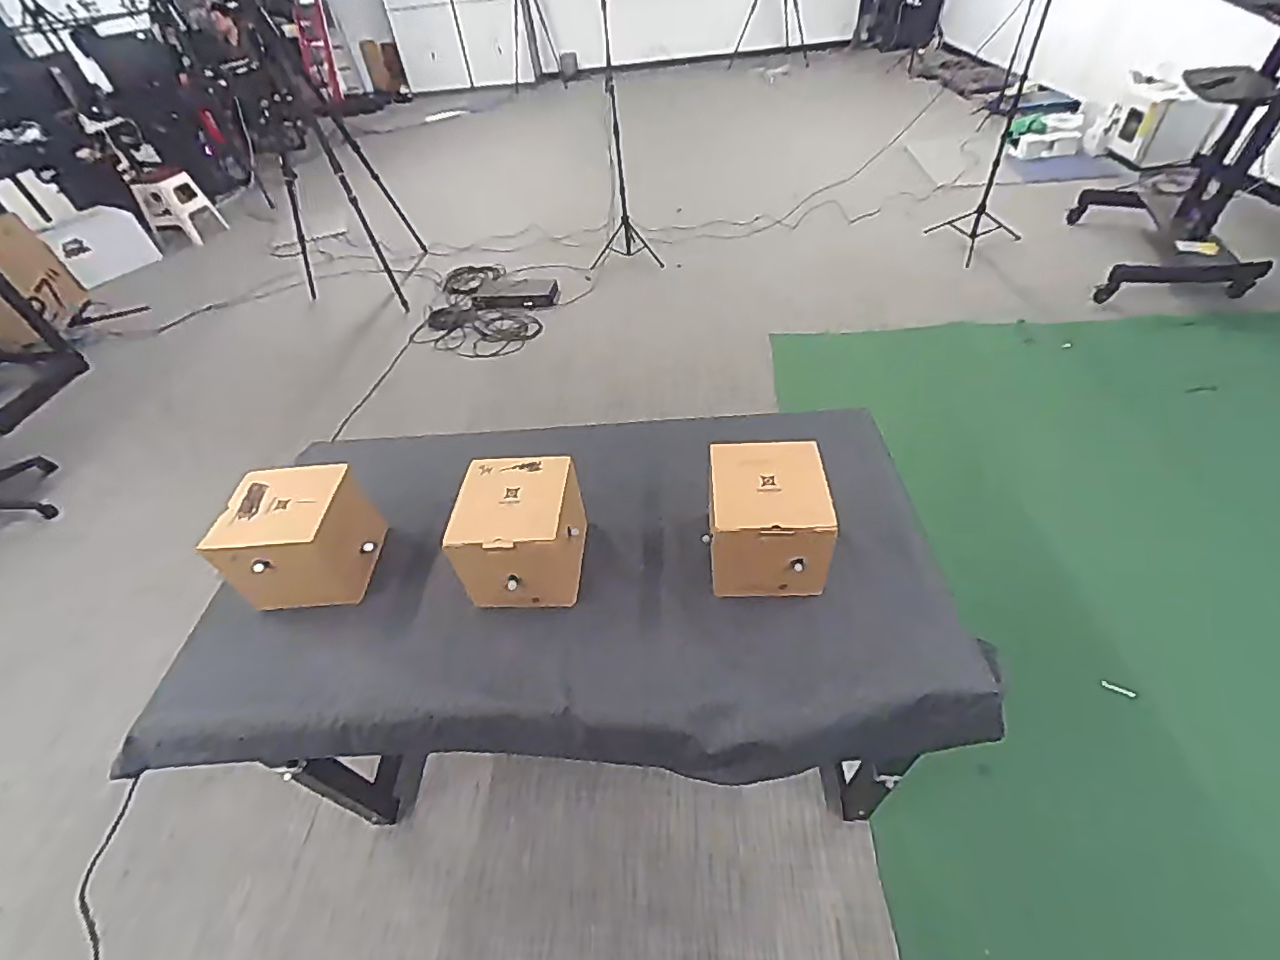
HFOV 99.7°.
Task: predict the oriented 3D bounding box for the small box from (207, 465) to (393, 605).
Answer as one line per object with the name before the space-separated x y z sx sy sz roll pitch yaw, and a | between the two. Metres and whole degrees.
small box | -0.551 0.096 0.906 0.179 0.176 0.168 -4 46 1

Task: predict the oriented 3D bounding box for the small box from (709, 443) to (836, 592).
small box | 0.196 0.063 0.848 0.168 0.176 0.179 -2 44 4

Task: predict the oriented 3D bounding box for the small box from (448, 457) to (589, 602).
small box | -0.182 0.085 0.872 0.168 0.176 0.179 -2 46 5
